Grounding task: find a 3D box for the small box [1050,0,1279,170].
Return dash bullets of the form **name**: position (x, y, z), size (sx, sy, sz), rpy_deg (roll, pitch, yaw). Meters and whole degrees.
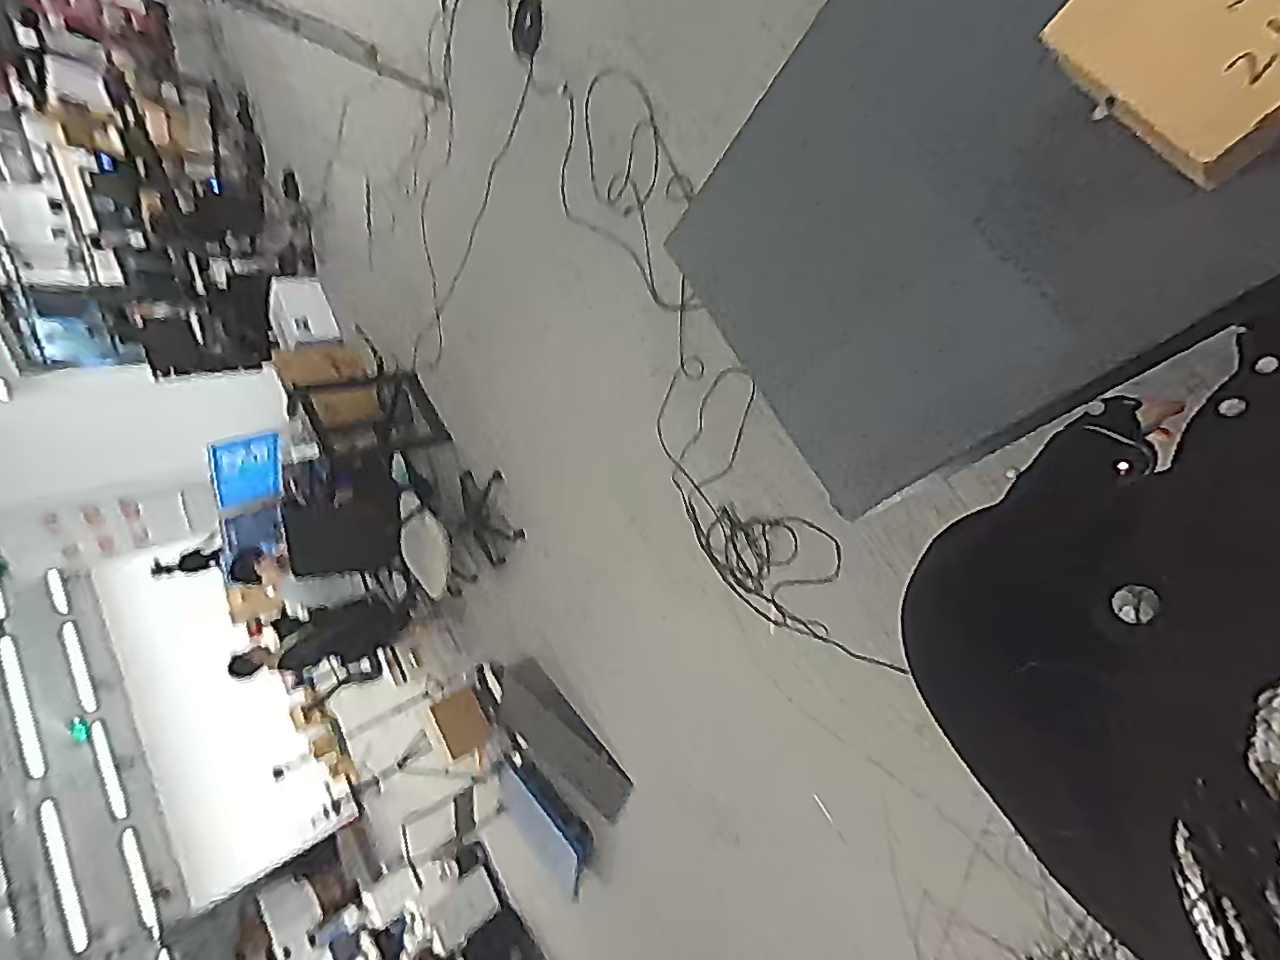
- **small box**: position (0.473, -0.371, 0.416), size (0.179, 0.176, 0.168), rpy_deg (57, 137, 17)
